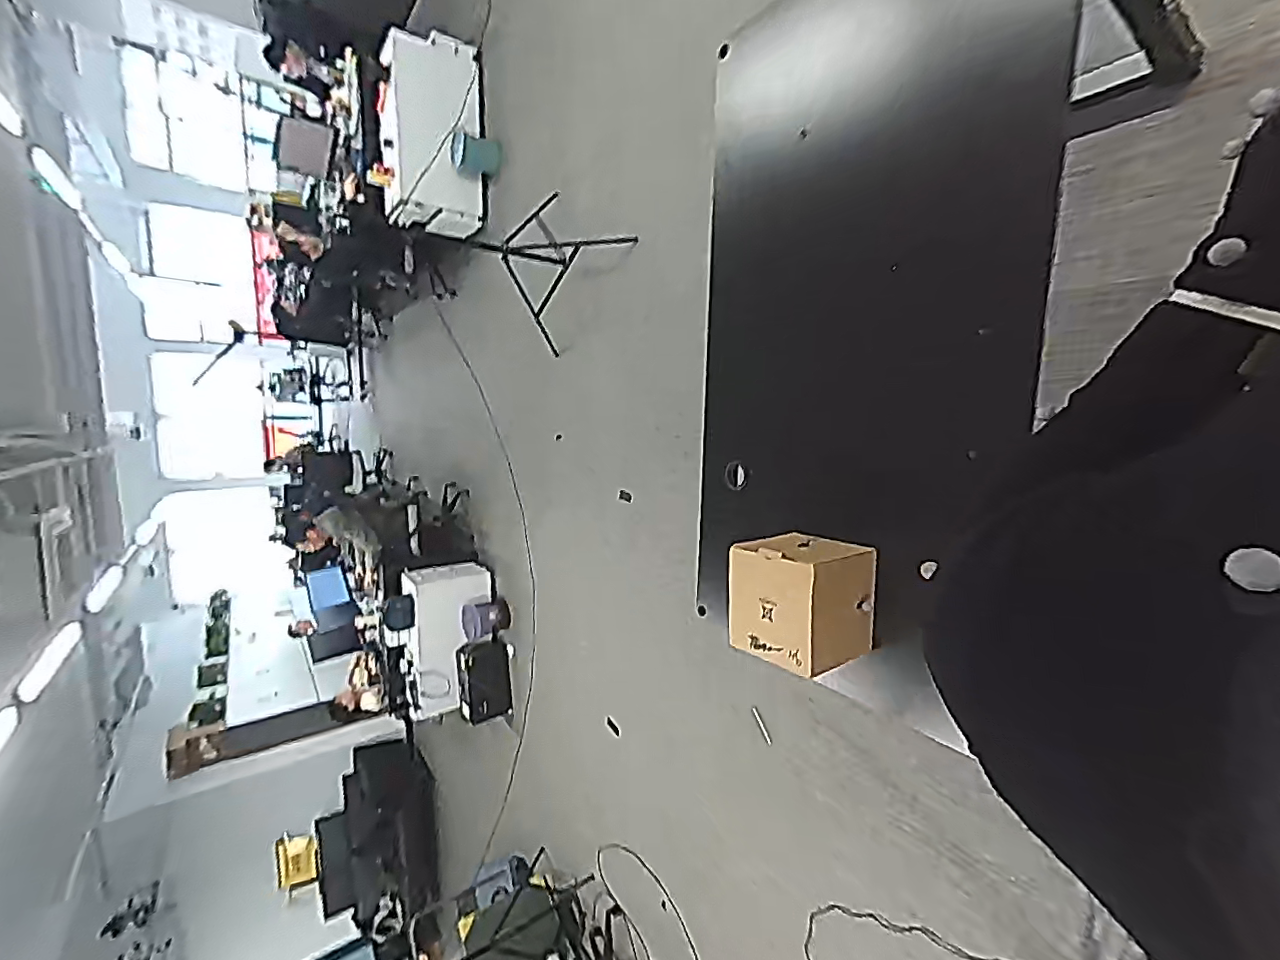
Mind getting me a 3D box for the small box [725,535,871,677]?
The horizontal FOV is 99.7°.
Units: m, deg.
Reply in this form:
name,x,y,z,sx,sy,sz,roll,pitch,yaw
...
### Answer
name,x,y,z,sx,sy,sz,roll,pitch,yaw
small box,0.261,0.193,0.892,0.168,0.176,0.179,8,99,53
